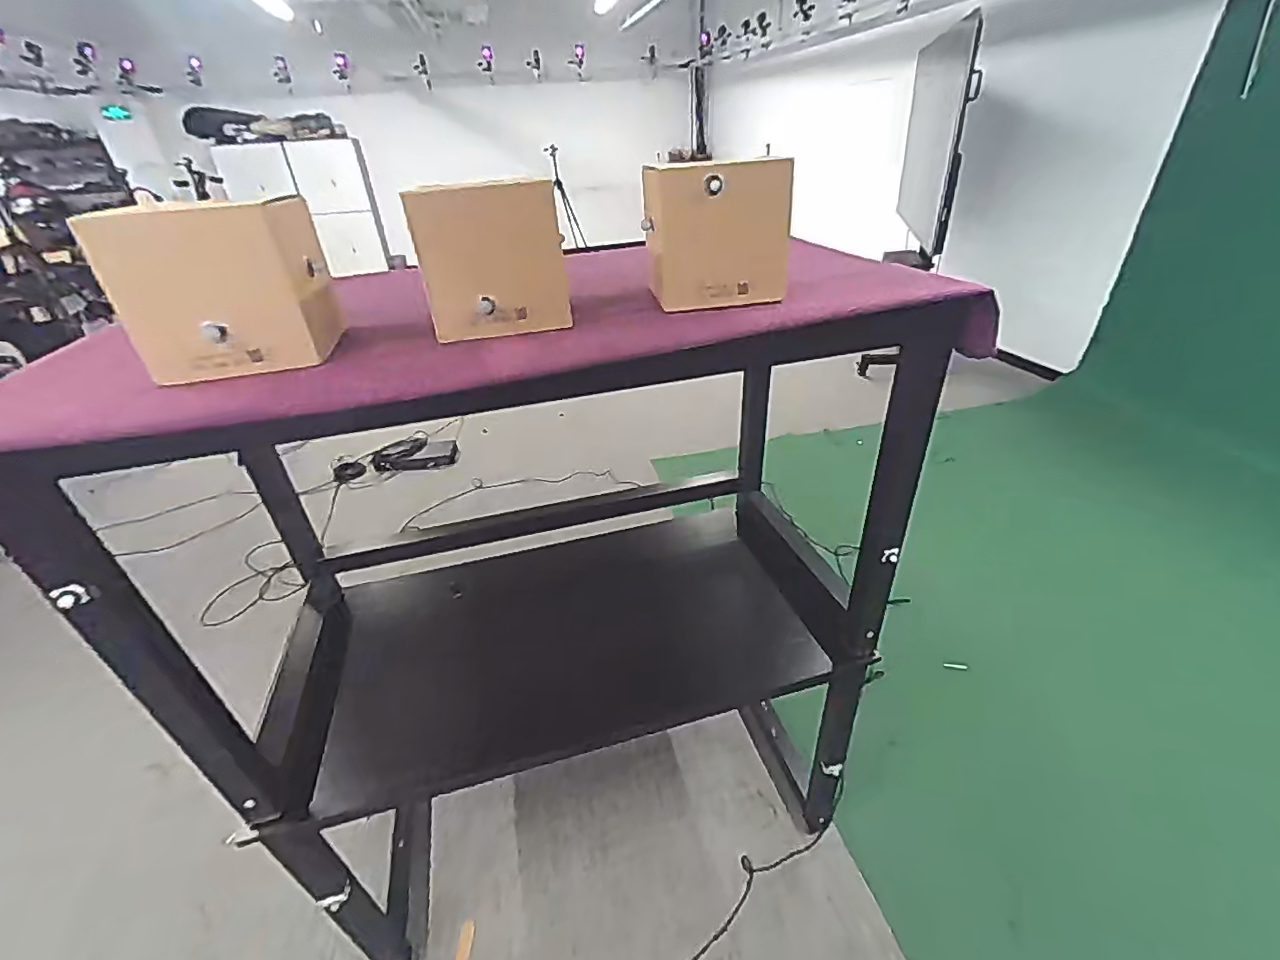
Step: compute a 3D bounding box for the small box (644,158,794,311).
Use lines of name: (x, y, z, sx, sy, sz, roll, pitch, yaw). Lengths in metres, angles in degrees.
small box: (0.098, -0.338, 0.744, 0.168, 0.176, 0.179, -7, 31, -3)

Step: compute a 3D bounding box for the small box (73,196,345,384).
small box: (-0.462, -0.223, 0.622, 0.168, 0.176, 0.179, -11, 33, -12)

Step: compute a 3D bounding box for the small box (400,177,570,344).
small box: (-0.187, -0.285, 0.695, 0.168, 0.176, 0.179, -10, 33, -8)
